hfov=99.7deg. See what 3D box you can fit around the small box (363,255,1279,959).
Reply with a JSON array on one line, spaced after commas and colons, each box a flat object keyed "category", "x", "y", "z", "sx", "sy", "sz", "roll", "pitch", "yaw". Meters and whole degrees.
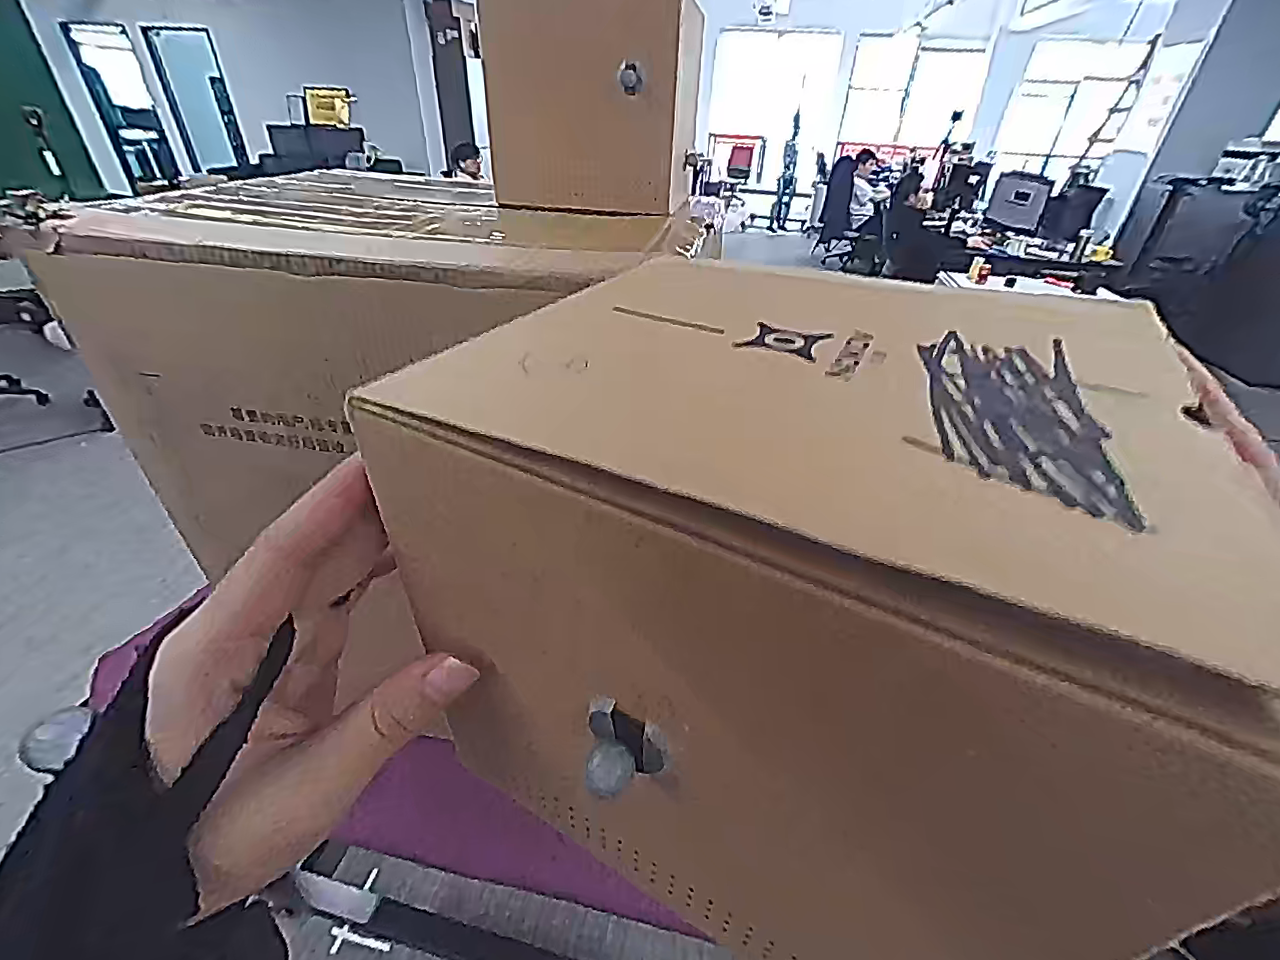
[{"category": "small box", "x": 0.047, "y": 0.035, "z": 0.195, "sx": 0.179, "sy": 0.176, "sz": 0.168, "roll": 19, "pitch": 39, "yaw": 23}]
